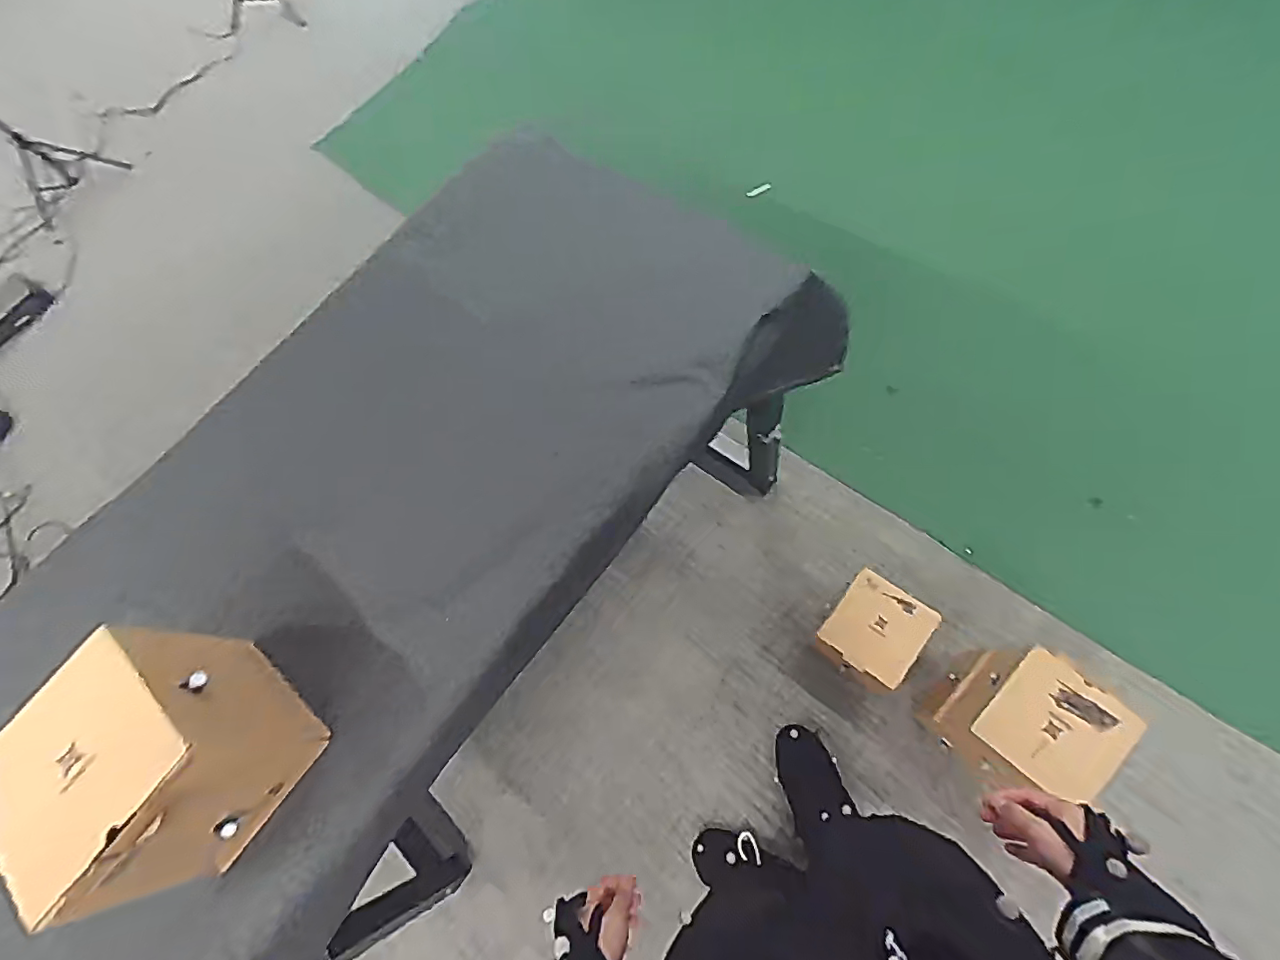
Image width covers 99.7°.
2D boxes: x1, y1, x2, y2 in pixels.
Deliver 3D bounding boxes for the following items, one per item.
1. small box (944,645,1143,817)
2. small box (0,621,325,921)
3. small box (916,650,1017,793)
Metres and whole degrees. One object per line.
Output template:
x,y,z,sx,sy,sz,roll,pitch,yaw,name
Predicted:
0.628,0.393,0.871,0.168,0.176,0.179,40,82,24,small box
-0.468,0.268,0.535,0.179,0.176,0.168,33,78,21,small box
0.657,0.447,1.024,0.168,0.176,0.179,41,83,24,small box
